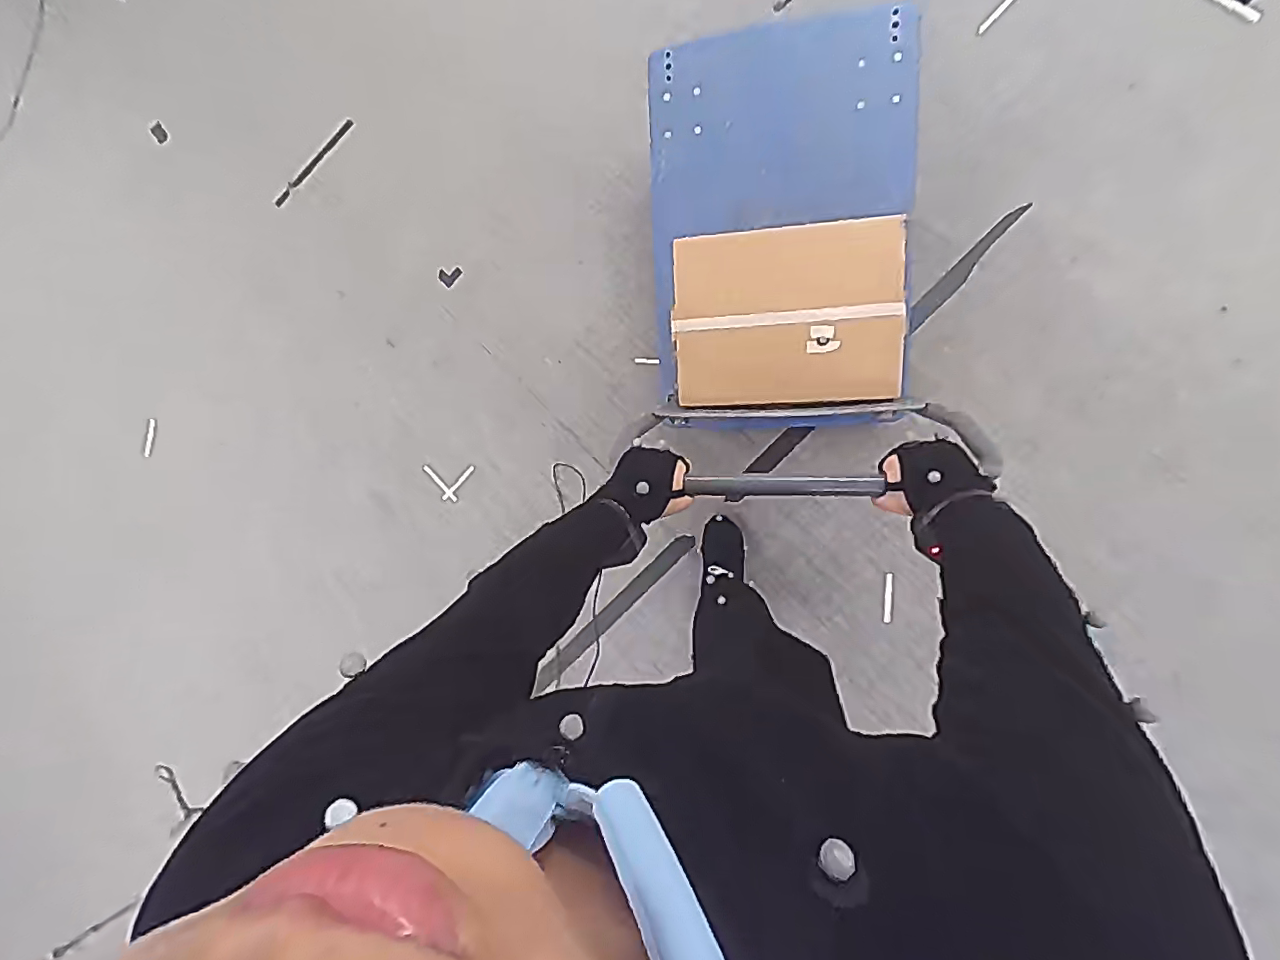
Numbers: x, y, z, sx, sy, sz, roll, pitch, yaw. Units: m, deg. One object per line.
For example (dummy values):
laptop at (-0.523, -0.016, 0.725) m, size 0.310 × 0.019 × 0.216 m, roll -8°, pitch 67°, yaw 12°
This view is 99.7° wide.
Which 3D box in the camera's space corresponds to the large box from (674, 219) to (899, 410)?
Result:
large box at (0.297, -0.321, 1.151) m, size 0.408 × 0.320 × 0.320 m, roll -2°, pitch 100°, yaw 12°
